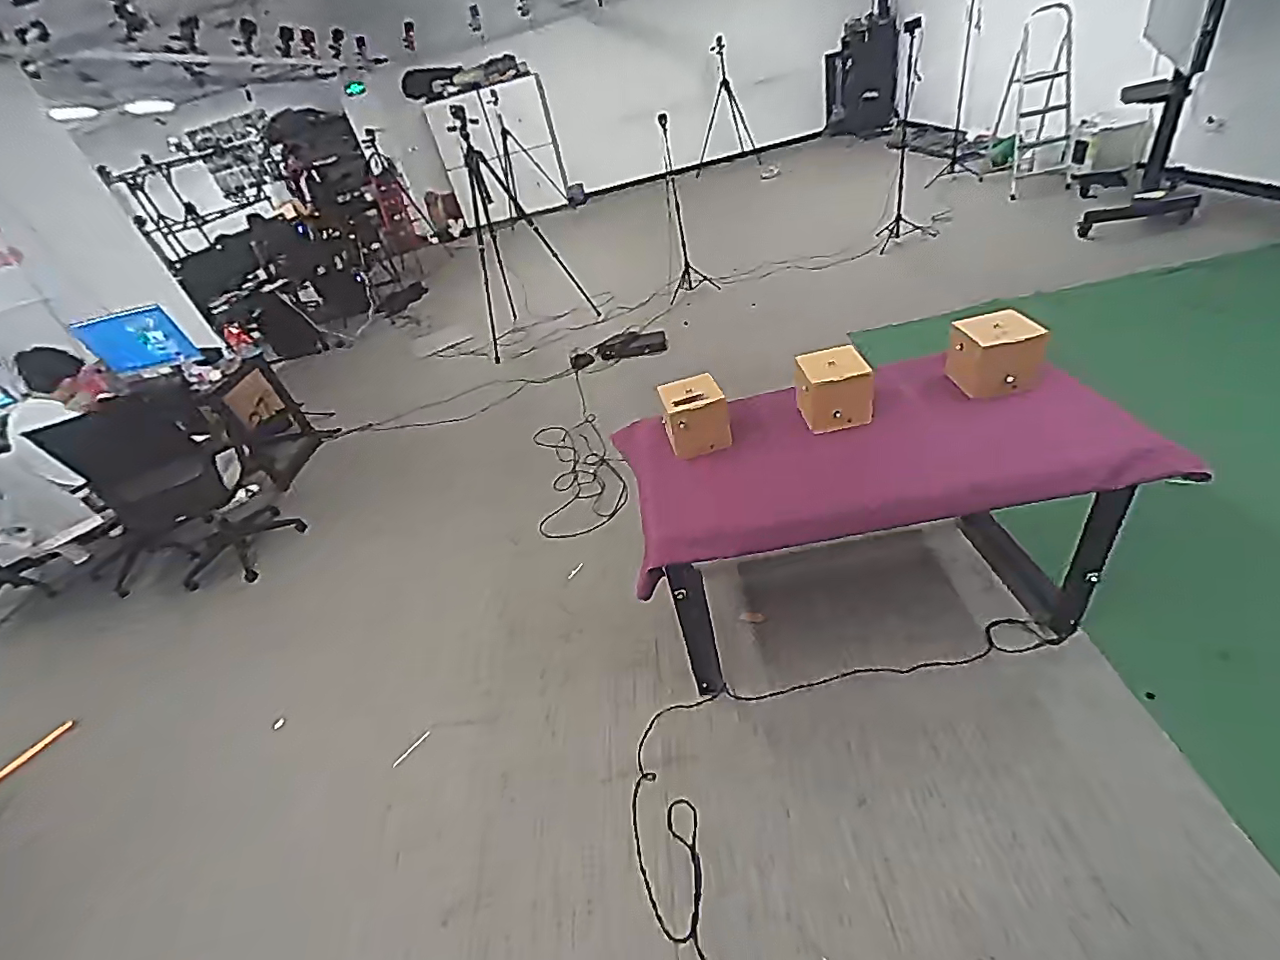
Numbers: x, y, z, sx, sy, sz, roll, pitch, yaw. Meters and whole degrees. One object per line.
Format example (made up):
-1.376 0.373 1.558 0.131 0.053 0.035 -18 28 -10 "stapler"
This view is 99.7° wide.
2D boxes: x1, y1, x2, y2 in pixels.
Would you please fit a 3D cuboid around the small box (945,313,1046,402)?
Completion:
0.980 -0.342 1.511 0.168 0.176 0.179 -11 38 7 "small box"

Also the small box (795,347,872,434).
0.550 -0.257 1.557 0.168 0.176 0.179 -11 38 5 "small box"
